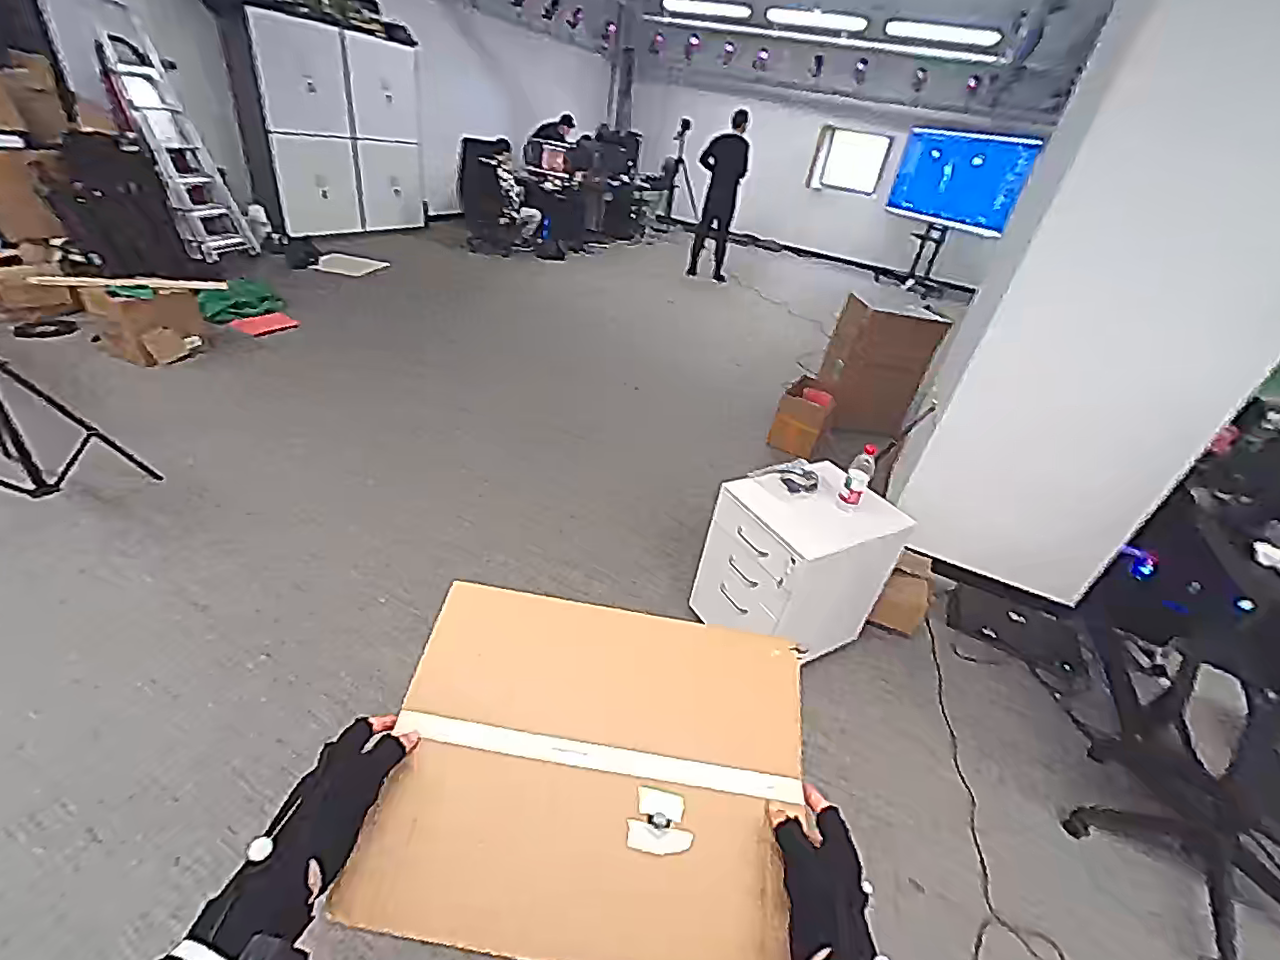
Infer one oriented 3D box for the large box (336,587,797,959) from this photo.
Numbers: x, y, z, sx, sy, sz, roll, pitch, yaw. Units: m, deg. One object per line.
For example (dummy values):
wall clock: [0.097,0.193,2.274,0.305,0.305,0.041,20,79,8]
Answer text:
large box: [-0.061,0.364,0.663,0.408,0.320,0.320,9,52,0]
